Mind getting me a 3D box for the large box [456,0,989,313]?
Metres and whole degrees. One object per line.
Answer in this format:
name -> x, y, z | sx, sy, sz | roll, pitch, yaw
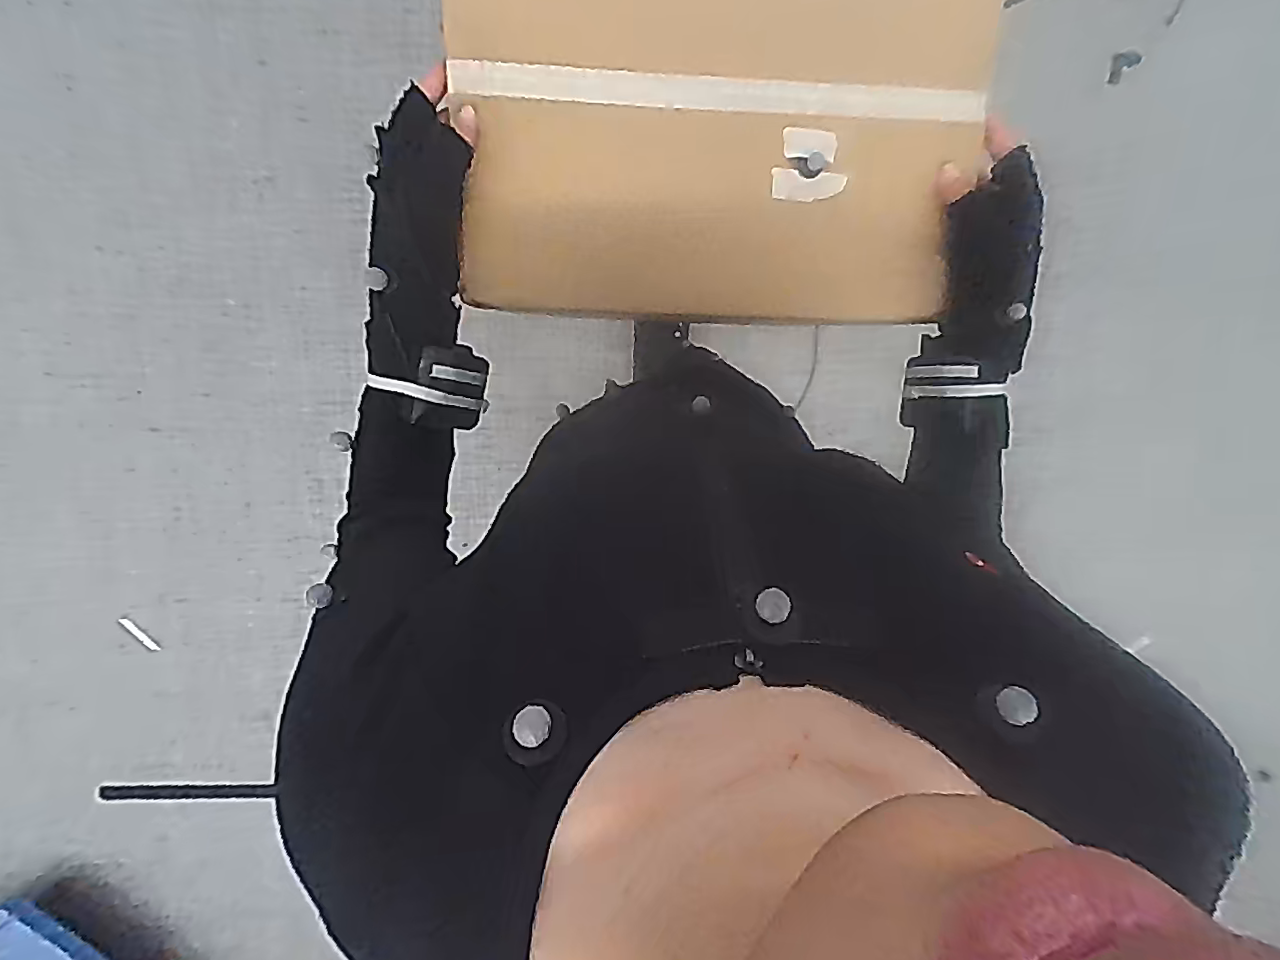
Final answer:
large box -> 0.052, -0.340, 0.555 | 0.408, 0.320, 0.320 | 0, 106, -5
